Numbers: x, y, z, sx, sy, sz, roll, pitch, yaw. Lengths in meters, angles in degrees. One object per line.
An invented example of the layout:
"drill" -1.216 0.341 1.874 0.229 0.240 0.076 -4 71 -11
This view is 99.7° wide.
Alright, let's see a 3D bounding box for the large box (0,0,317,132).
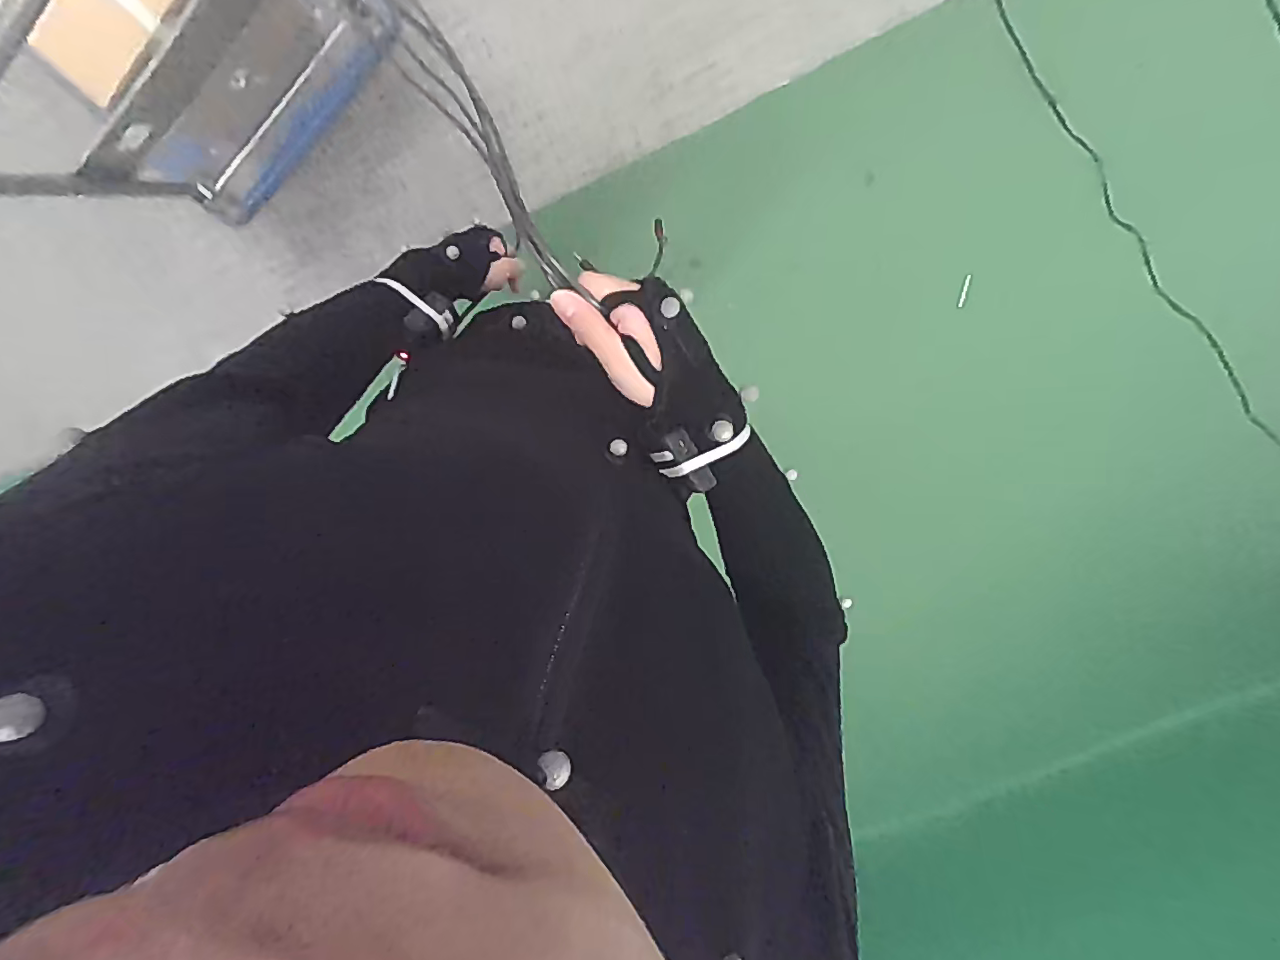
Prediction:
"large box" -0.842 -0.864 0.865 0.320 0.320 0.408 -40 111 13
